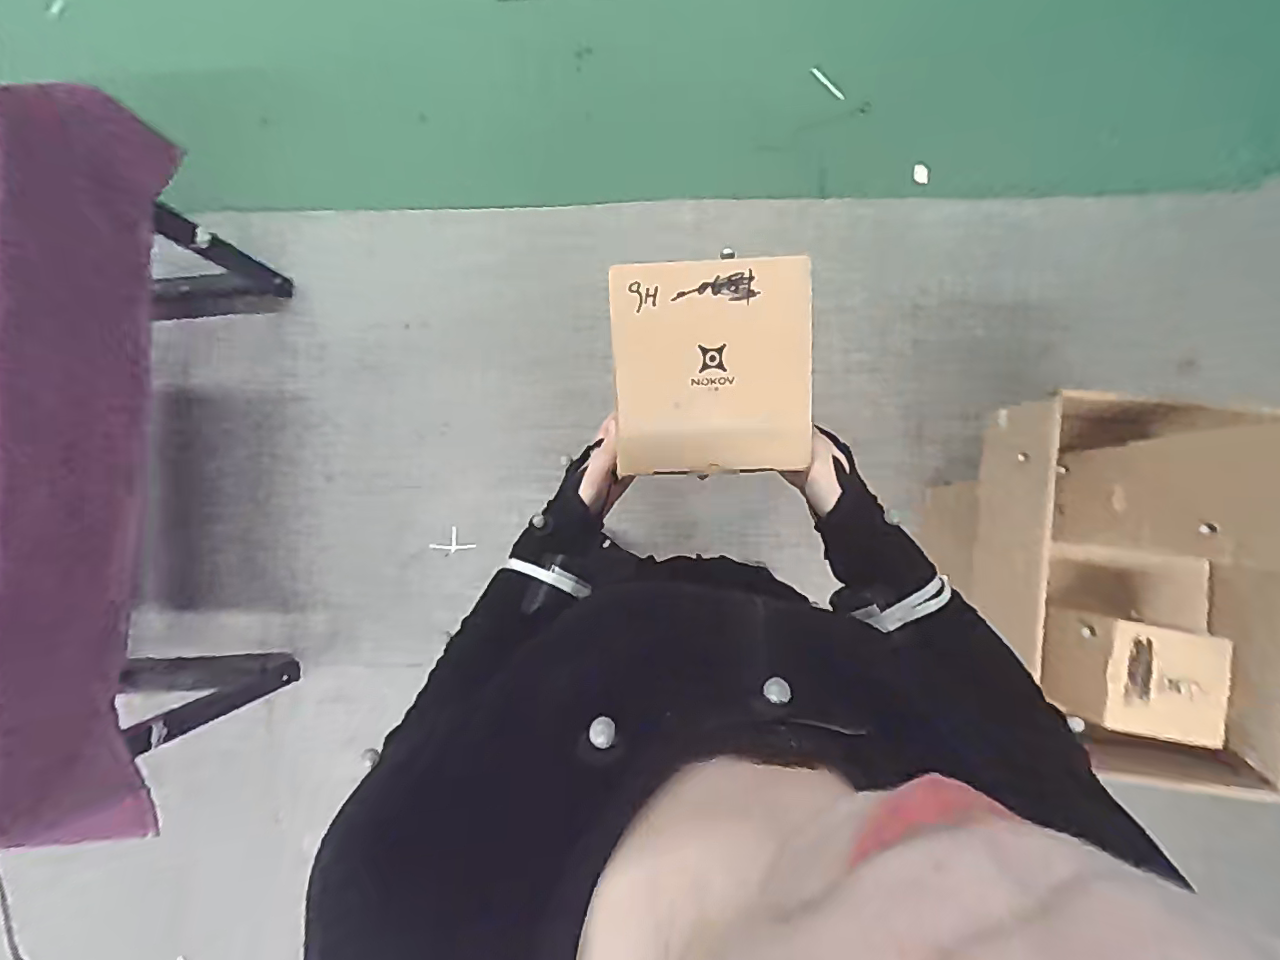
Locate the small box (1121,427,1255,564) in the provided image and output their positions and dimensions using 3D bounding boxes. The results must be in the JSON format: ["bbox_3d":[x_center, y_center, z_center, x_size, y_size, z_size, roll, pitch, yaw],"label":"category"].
[{"bbox_3d":[0.832,0.028,0.762,0.168,0.176,0.179,5,89,3],"label":"small box"}]

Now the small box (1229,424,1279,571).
[{"bbox_3d":[0.821,0.023,0.597,0.168,0.176,0.179,4,88,4],"label":"small box"}]

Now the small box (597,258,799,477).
[{"bbox_3d":[0.052,-0.105,0.529,0.168,0.176,0.179,-3,99,1],"label":"small box"}]
